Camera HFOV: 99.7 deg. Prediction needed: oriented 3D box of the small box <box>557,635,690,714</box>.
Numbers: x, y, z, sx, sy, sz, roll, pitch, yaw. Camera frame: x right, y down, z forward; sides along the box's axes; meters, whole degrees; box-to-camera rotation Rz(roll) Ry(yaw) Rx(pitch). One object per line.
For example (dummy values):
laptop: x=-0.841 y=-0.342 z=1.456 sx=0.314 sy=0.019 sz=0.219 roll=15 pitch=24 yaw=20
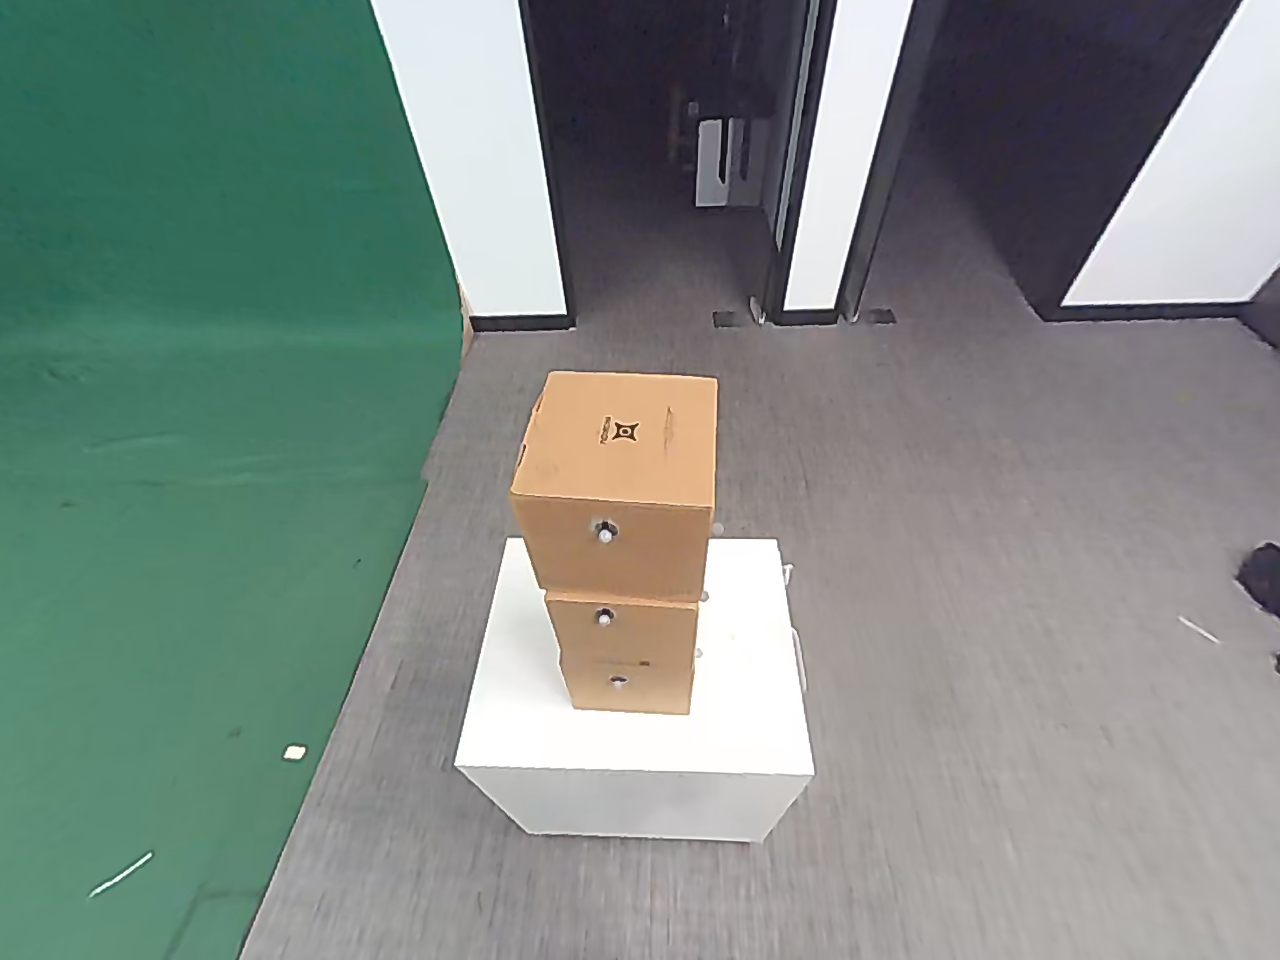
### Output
small box: x=-0.013 y=0.236 z=0.807 sx=0.179 sy=0.176 sz=0.168 roll=2 pitch=48 yaw=4

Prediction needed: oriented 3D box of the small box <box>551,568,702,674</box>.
small box: x=-0.011 y=0.126 z=0.690 sx=0.168 sy=0.176 sz=0.179 roll=1 pitch=49 yaw=2

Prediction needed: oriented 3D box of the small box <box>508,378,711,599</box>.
small box: x=-0.019 y=0.012 z=0.571 sx=0.179 sy=0.176 sz=0.168 roll=4 pitch=50 yaw=5
